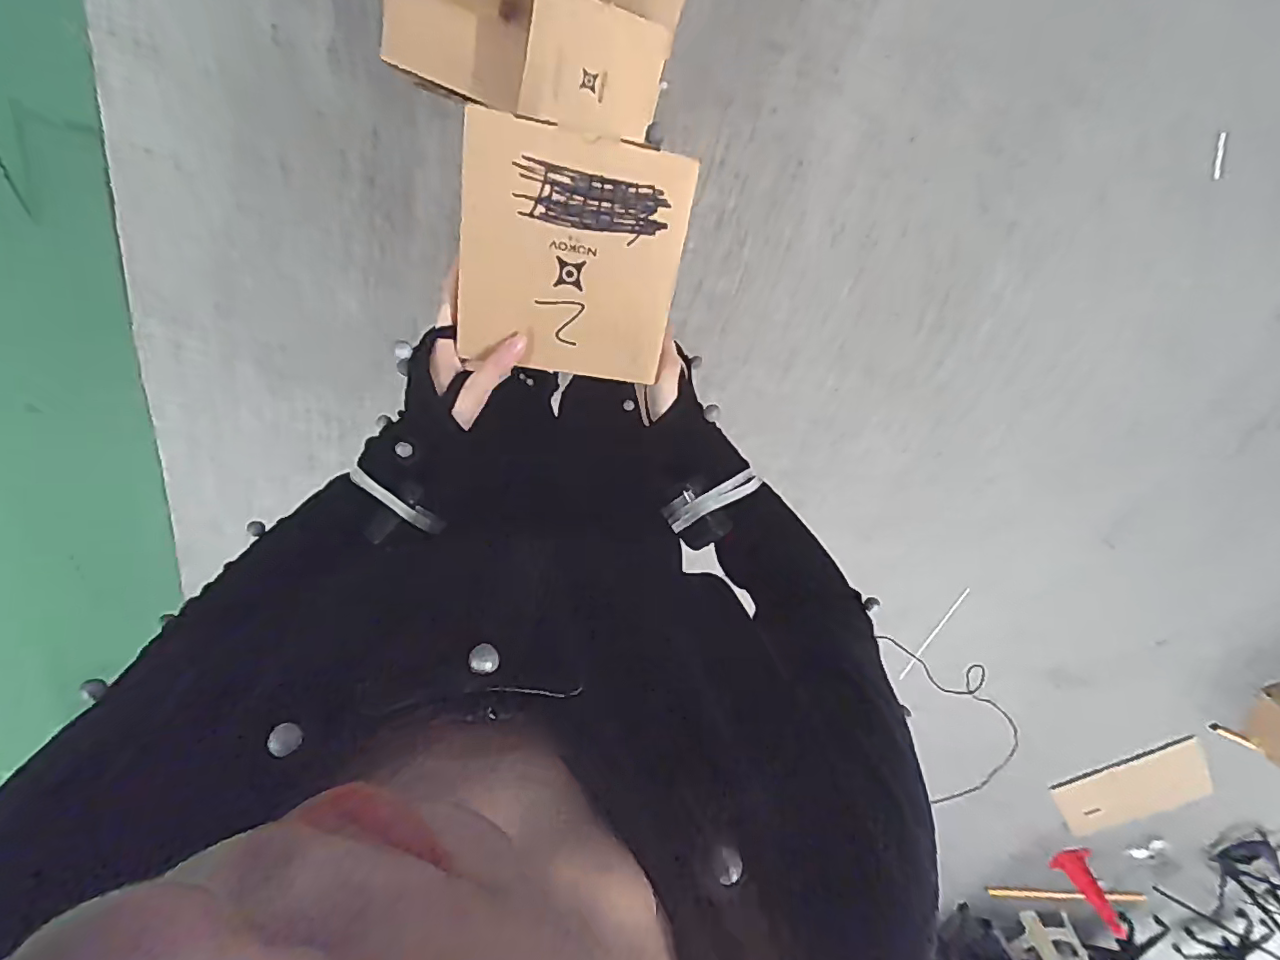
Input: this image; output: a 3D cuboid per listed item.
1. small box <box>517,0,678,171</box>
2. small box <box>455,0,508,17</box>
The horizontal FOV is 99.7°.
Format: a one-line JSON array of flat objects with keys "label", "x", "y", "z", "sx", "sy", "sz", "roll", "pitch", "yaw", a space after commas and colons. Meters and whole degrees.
[{"label": "small box", "x": -0.064, "y": -0.558, "z": 0.764, "sx": 0.179, "sy": 0.176, "sz": 0.168, "roll": 13, "pitch": 118, "yaw": -13}, {"label": "small box", "x": -0.238, "y": -0.715, "z": 0.654, "sx": 0.168, "sy": 0.176, "sz": 0.179, "roll": 14, "pitch": 117, "yaw": -13}]
